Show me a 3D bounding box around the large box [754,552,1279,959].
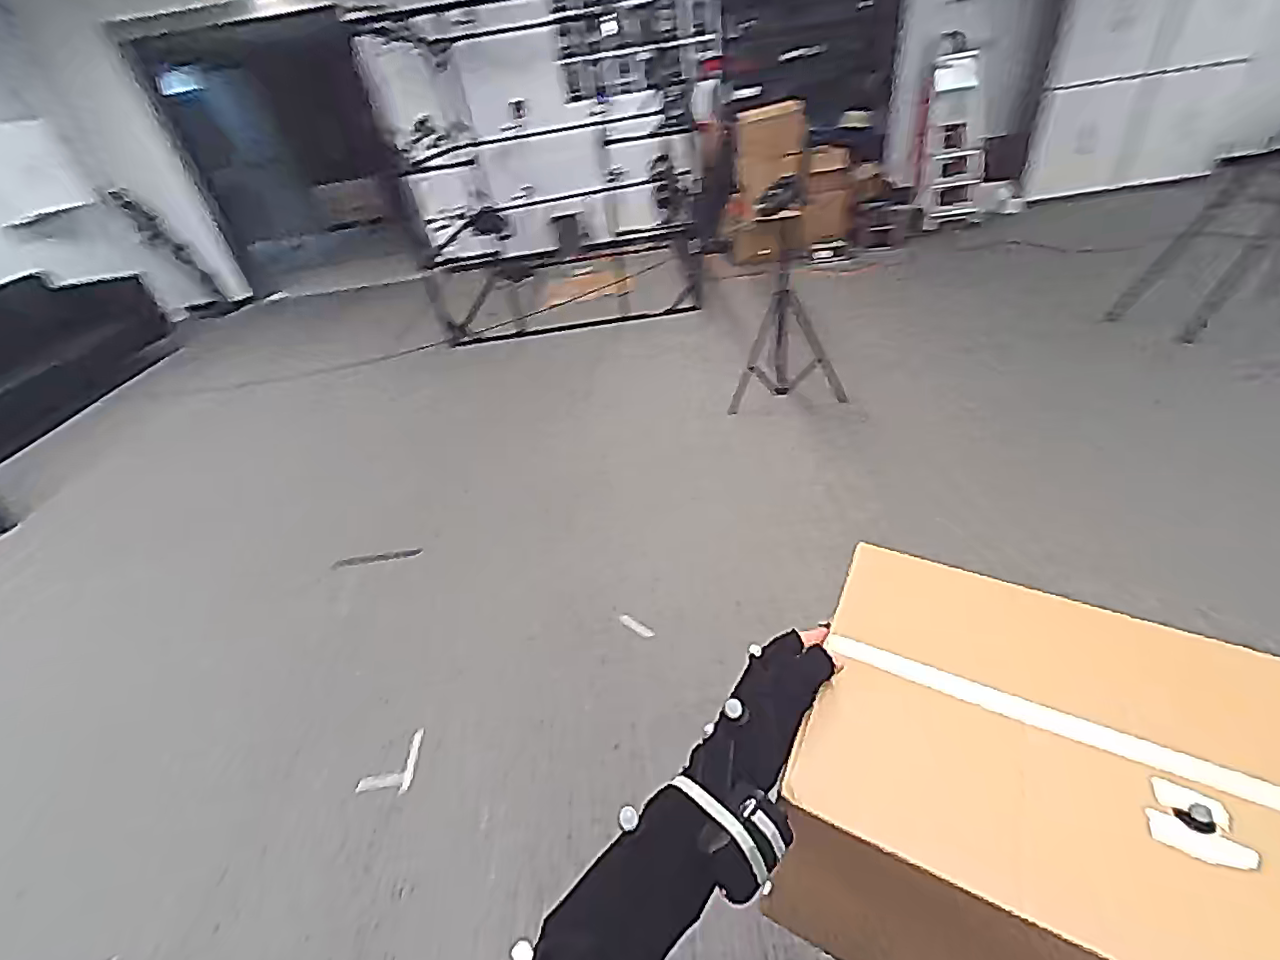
[{"bbox_3d":[0.360,0.331,0.548,0.408,0.320,0.320,15,42,24],"label":"large box"}]
